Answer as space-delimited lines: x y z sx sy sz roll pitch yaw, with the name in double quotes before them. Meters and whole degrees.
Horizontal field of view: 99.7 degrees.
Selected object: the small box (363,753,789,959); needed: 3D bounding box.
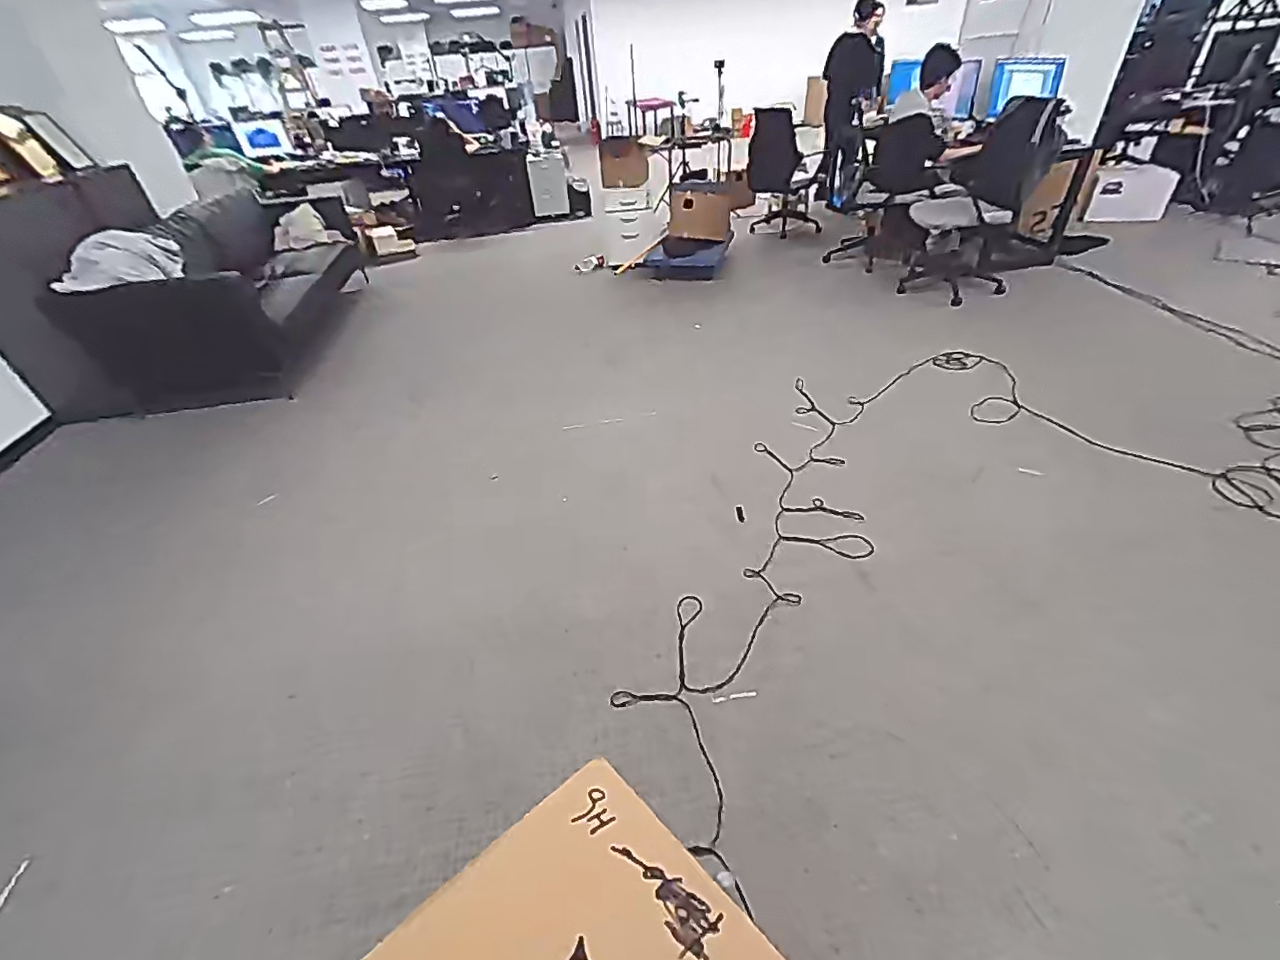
"small box" -0.028 0.315 0.311 0.179 0.176 0.168 -31 38 -31
